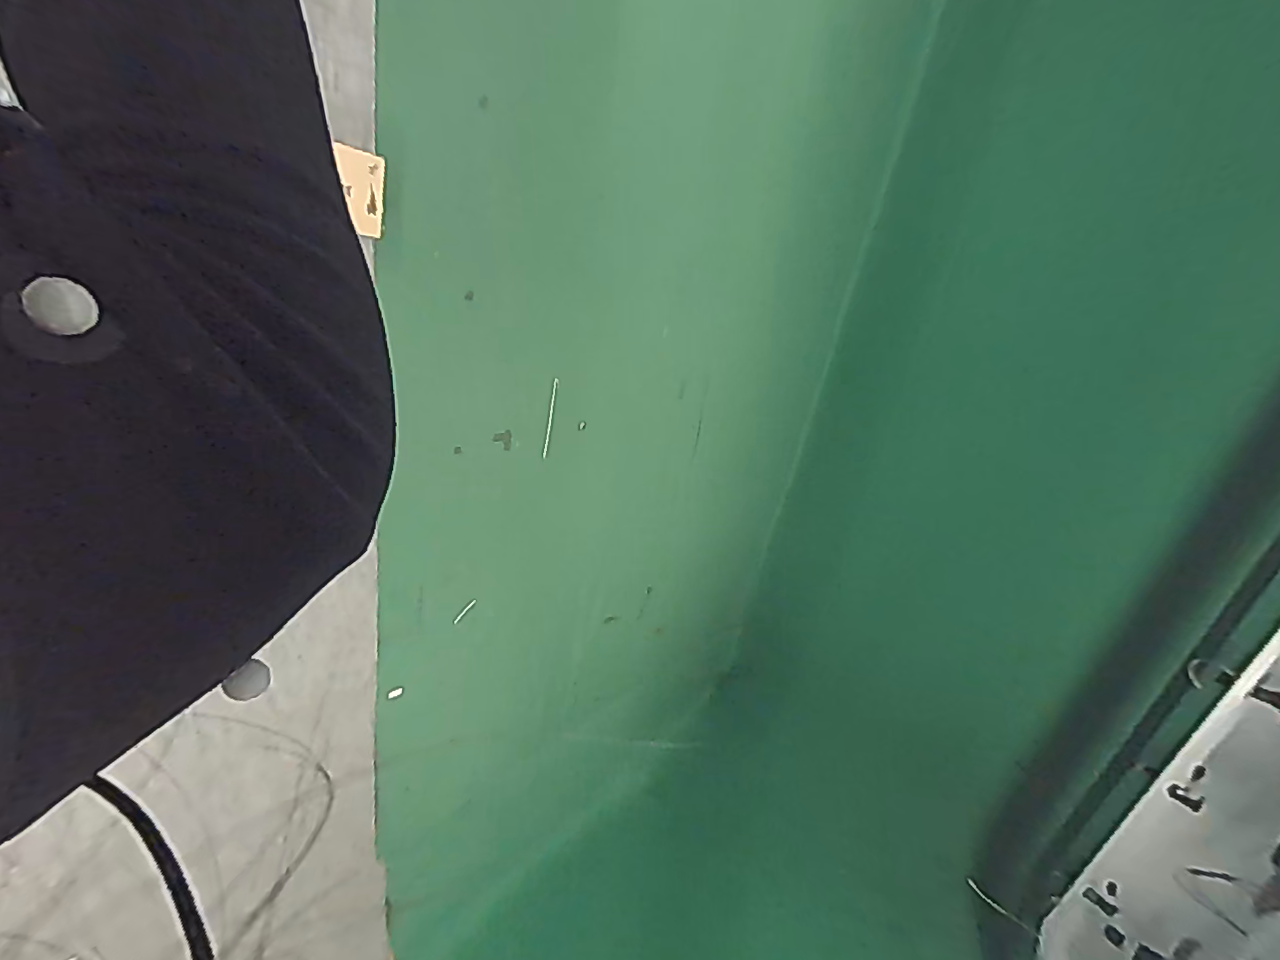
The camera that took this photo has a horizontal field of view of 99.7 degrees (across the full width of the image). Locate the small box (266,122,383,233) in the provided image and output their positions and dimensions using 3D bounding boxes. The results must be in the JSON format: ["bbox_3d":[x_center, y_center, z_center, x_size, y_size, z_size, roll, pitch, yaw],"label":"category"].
[{"bbox_3d":[-0.685,-0.649,1.168,0.179,0.176,0.168,-10,121,-49],"label":"small box"}]
